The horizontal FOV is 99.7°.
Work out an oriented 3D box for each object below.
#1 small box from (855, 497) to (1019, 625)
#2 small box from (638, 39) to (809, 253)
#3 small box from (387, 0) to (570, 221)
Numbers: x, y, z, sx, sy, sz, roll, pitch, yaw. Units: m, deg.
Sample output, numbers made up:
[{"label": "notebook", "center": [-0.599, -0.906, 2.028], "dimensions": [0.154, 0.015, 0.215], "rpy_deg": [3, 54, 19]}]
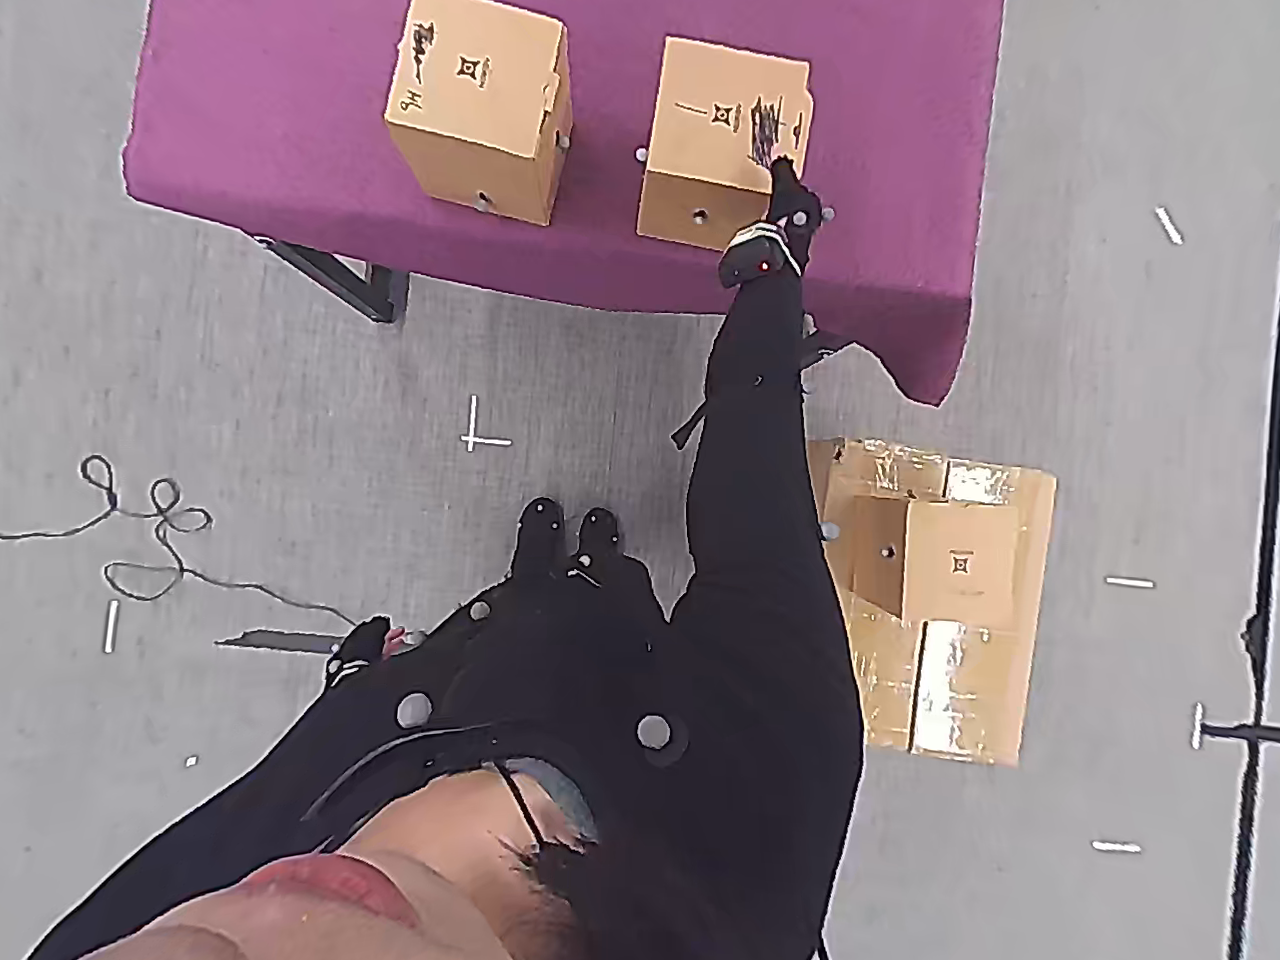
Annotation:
[{"label": "small box", "center": [0.453, 0.117, 0.848], "dimensions": [0.168, 0.176, 0.179], "rpy_deg": [2, 91, -2]}, {"label": "small box", "center": [0.099, -0.425, 0.721], "dimensions": [0.179, 0.176, 0.168], "rpy_deg": [9, 88, -3]}, {"label": "small box", "center": [-0.192, -0.464, 0.699], "dimensions": [0.179, 0.176, 0.168], "rpy_deg": [13, 88, -5]}]
